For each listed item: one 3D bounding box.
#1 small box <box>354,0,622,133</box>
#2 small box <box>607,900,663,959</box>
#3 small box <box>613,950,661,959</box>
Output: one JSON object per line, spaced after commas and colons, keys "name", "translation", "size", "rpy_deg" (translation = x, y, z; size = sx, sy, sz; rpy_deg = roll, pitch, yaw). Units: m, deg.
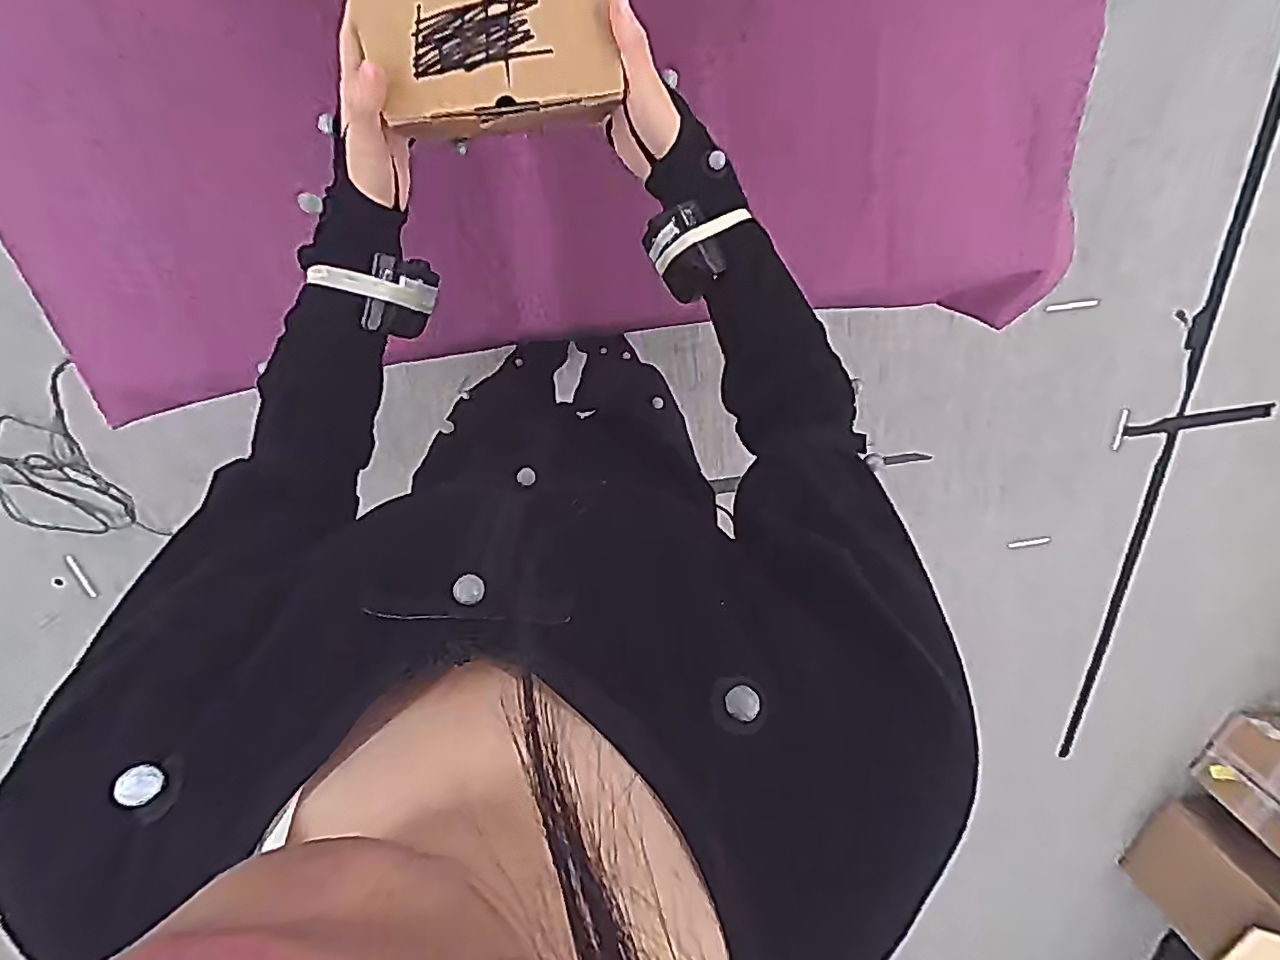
{"name": "small box", "translation": [-0.111, -0.368, 0.398], "size": [0.168, 0.176, 0.179], "rpy_deg": [-10, 118, -6]}
{"name": "small box", "translation": [-0.019, 1.644, 1.932], "size": [0.179, 0.176, 0.168], "rpy_deg": [-9, 114, -2]}
{"name": "small box", "translation": [0.004, 1.702, 1.782], "size": [0.168, 0.176, 0.179], "rpy_deg": [-9, 114, -4]}
